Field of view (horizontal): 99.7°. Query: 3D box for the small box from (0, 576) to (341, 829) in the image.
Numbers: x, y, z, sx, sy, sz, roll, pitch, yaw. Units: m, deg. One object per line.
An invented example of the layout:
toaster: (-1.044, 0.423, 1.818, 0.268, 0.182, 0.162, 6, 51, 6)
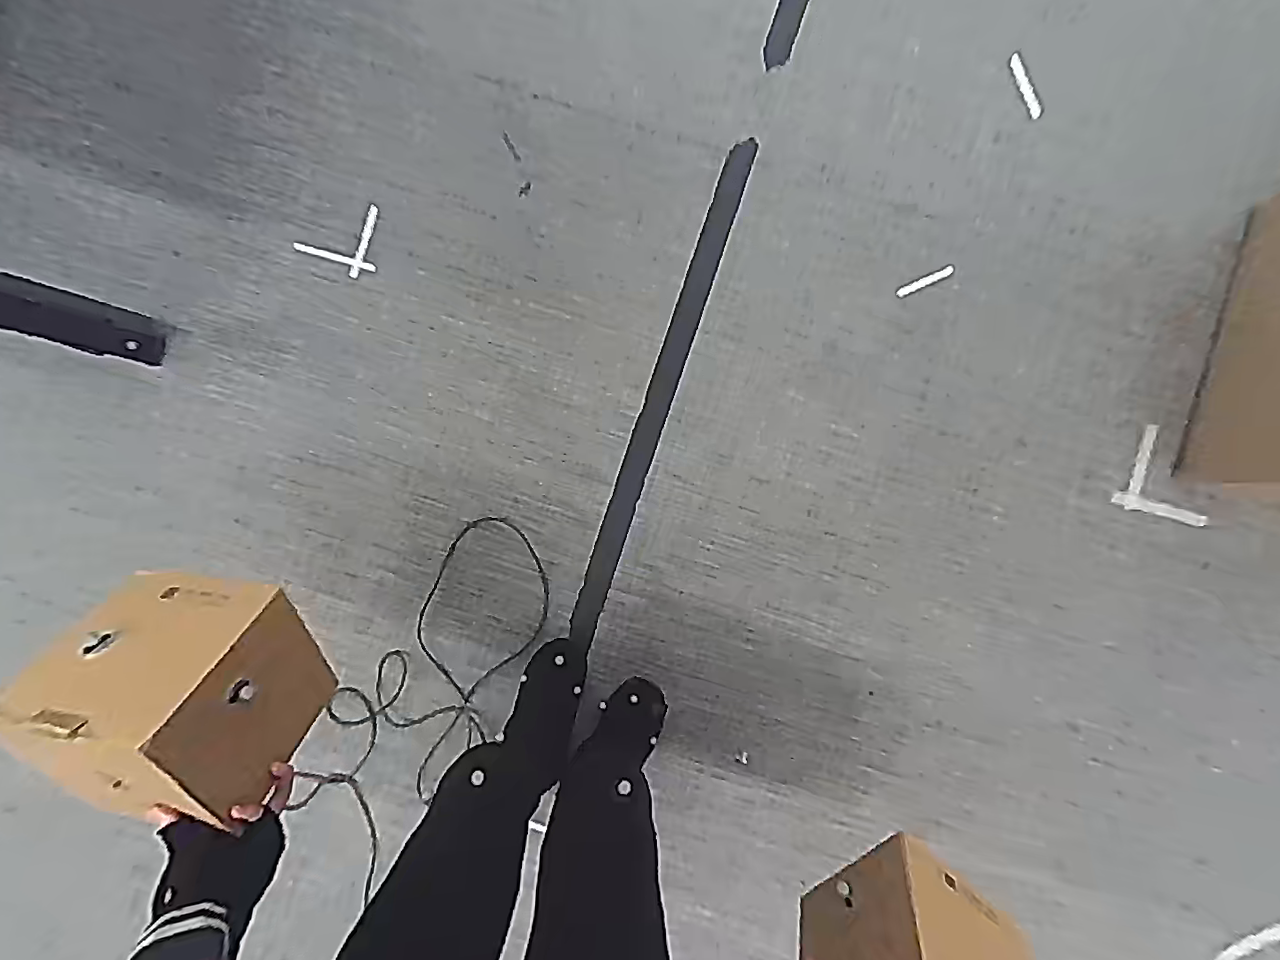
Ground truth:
small box: (-0.450, 0.219, 0.550, 0.168, 0.176, 0.179, 5, 130, 8)

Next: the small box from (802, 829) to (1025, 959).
small box: (0.287, 0.523, 0.565, 0.168, 0.176, 0.179, 37, 113, 5)
